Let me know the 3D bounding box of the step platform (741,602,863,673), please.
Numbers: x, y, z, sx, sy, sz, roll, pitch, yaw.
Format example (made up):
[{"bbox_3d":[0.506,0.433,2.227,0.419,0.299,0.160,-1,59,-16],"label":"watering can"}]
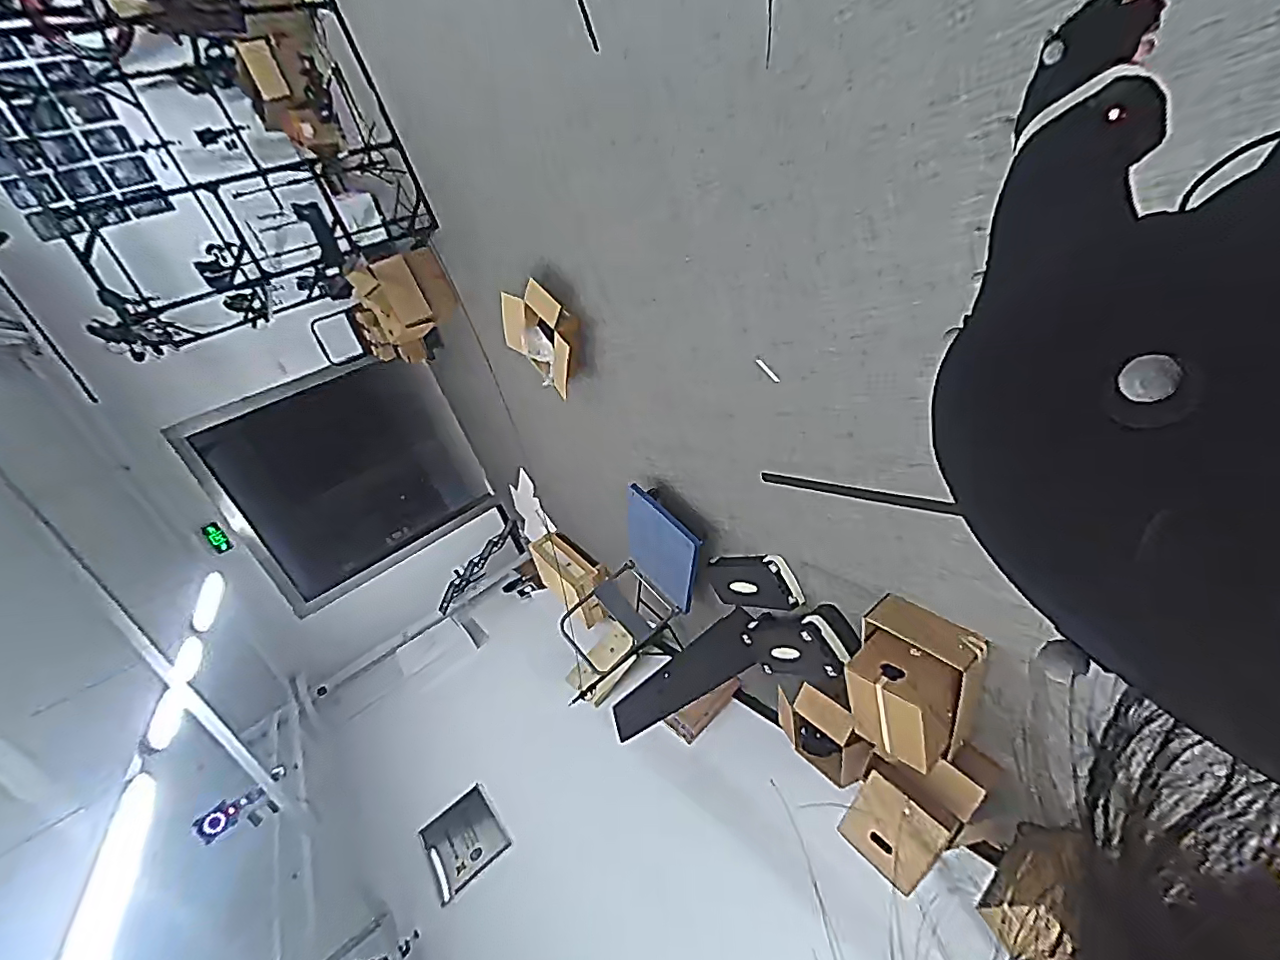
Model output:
[{"bbox_3d":[0.807,0.832,2.808,0.286,0.204,0.684,55,153,4],"label":"step platform"}]
